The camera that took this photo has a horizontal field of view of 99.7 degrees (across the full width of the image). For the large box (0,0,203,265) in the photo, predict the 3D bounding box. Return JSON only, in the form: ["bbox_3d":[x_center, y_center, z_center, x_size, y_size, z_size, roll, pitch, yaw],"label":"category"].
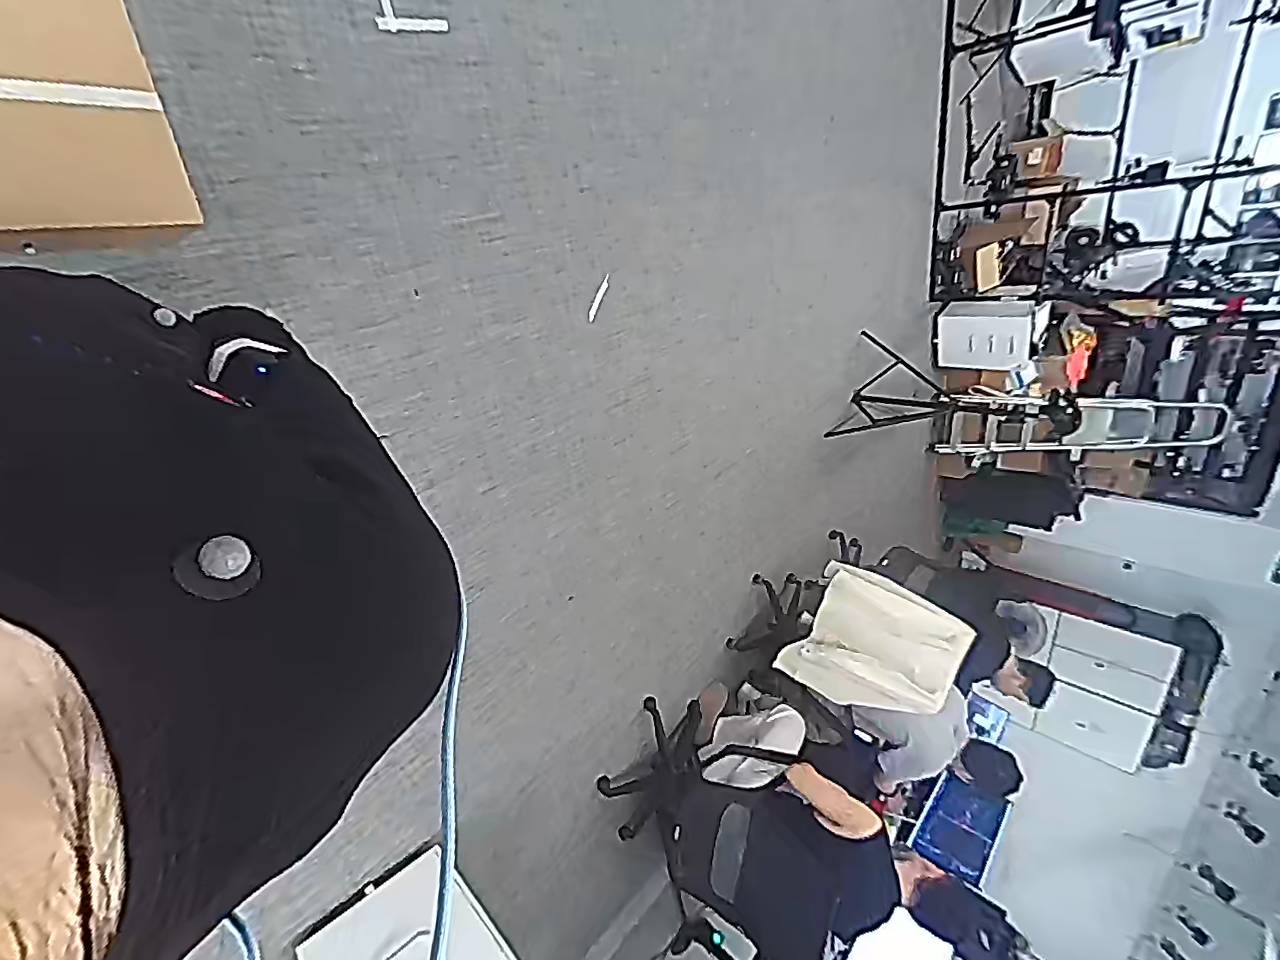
[{"bbox_3d":[-0.927,-0.478,0.745,0.408,0.320,0.320,-26,119,-40],"label":"large box"}]
